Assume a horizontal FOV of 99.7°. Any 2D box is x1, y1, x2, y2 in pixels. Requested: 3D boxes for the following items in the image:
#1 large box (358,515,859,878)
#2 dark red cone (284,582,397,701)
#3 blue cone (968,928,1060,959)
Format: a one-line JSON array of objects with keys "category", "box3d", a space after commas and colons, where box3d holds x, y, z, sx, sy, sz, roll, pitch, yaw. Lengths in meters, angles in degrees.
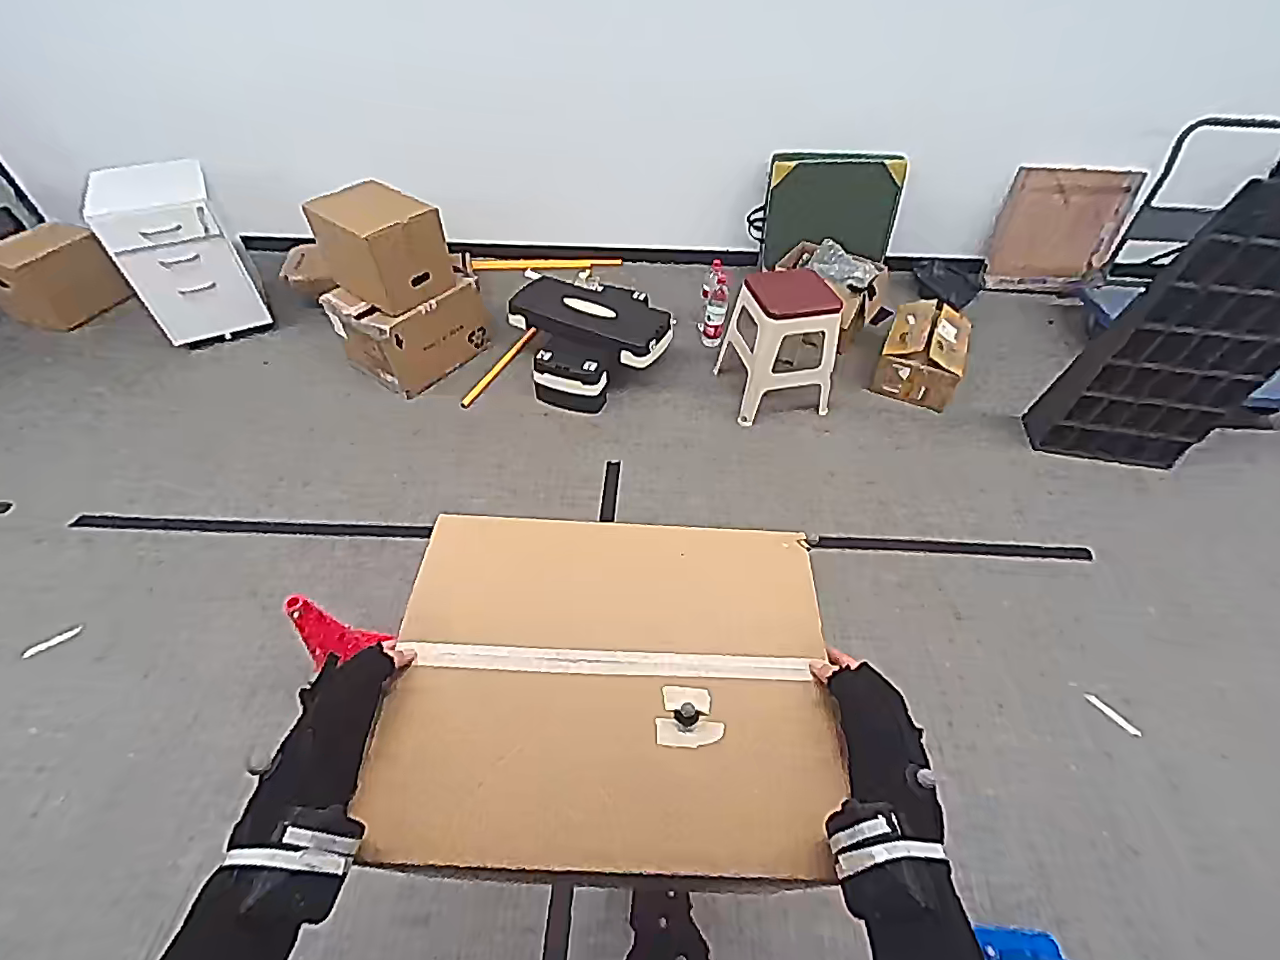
[{"category": "large box", "box3d": [-0.028, 0.261, 0.629, 0.408, 0.320, 0.320, 4, 52, -1]}, {"category": "dark red cone", "box3d": [-0.771, 0.371, 1.326, 0.201, 0.394, 0.202, 8, 48, 4]}, {"category": "blue cone", "box3d": [0.766, 0.902, 0.944, 0.192, 0.380, 0.193, 6, 48, 2]}]
